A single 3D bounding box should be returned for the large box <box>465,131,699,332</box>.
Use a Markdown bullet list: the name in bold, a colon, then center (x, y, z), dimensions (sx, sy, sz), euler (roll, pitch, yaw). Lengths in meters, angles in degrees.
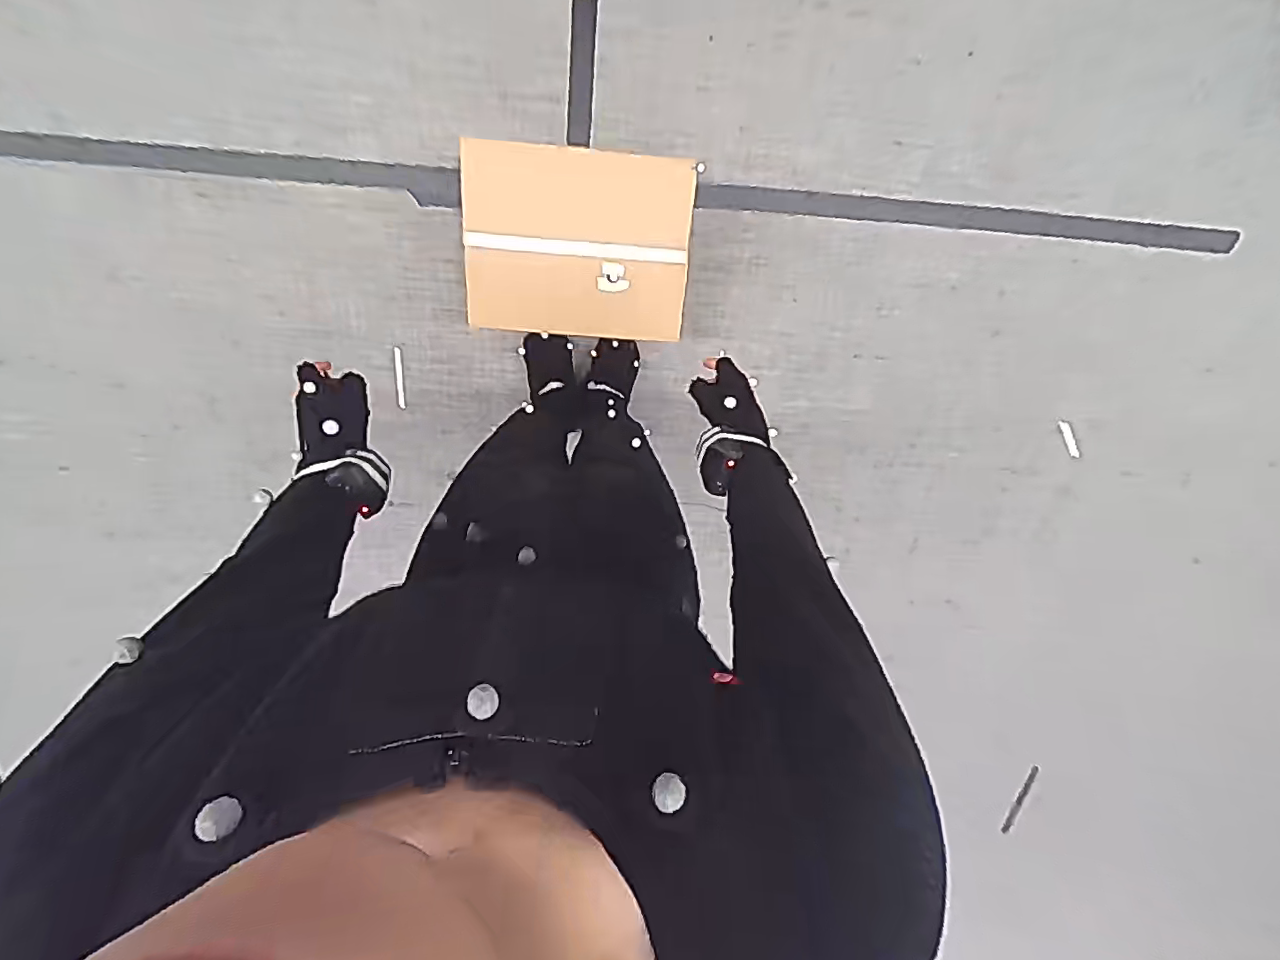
- **large box**: center (-0.117, -0.493, 1.112), dimensions (0.408, 0.320, 0.320), euler (2, 115, -6)
